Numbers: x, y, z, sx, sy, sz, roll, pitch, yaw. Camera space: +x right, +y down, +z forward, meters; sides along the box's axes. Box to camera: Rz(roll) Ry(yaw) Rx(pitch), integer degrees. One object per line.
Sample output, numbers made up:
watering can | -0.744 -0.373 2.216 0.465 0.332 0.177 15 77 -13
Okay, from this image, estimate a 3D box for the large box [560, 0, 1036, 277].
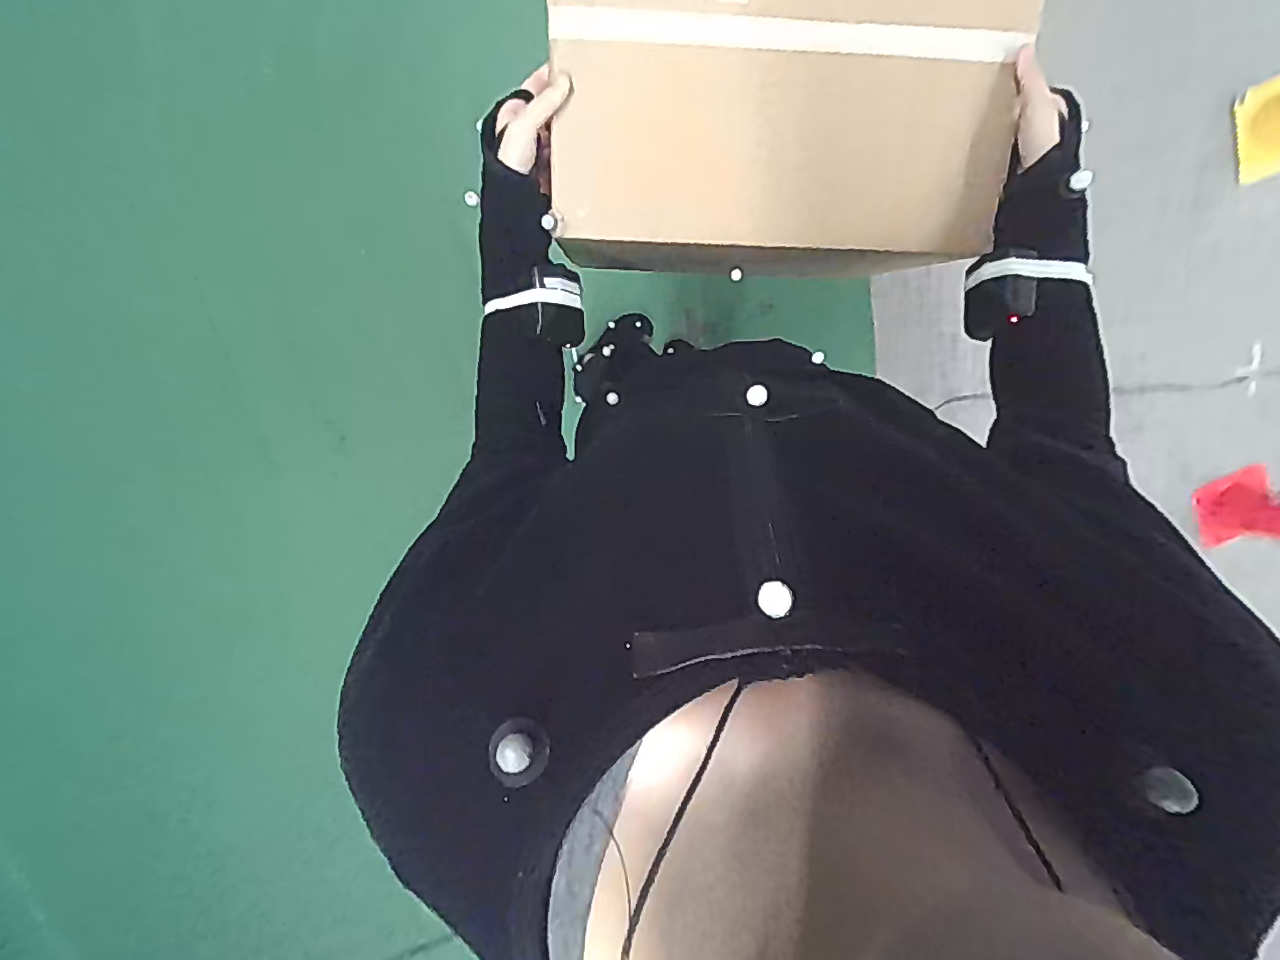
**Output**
large box | 0.129 -0.403 0.603 0.408 0.320 0.320 2 105 -2
